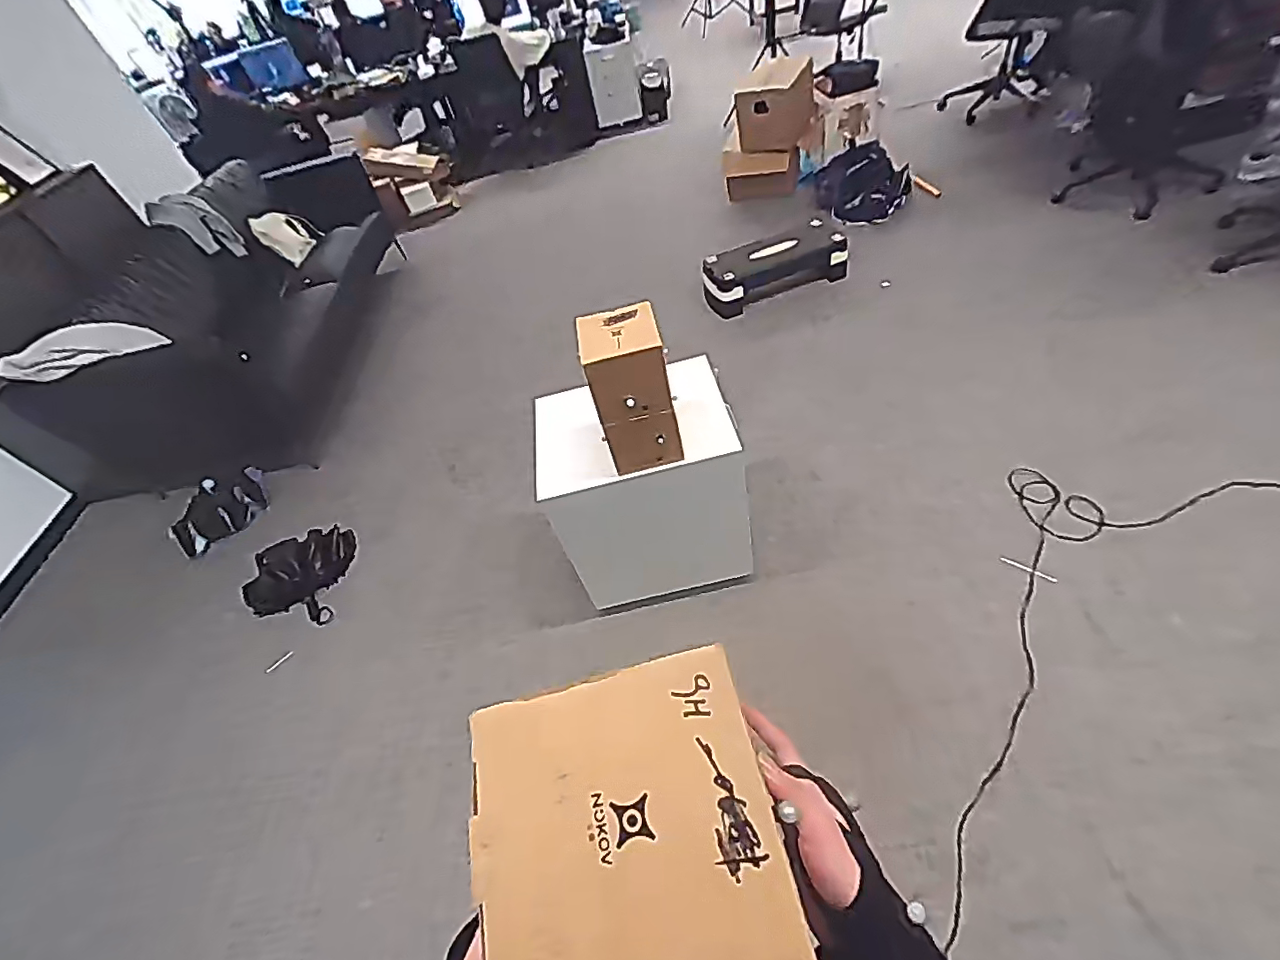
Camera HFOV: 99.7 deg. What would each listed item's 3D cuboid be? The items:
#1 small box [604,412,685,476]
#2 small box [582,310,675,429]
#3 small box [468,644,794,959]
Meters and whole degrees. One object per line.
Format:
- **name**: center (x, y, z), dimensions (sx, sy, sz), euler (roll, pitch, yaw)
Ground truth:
- **small box**: center (0.007, -0.128, 1.298), dimensions (0.168, 0.176, 0.179), euler (-13, 45, 2)
- **small box**: center (-0.024, -0.240, 1.181), dimensions (0.168, 0.176, 0.179), euler (-13, 47, 3)
- **small box**: center (-0.001, 0.236, 0.384), dimensions (0.179, 0.176, 0.168), euler (-17, 59, 4)
